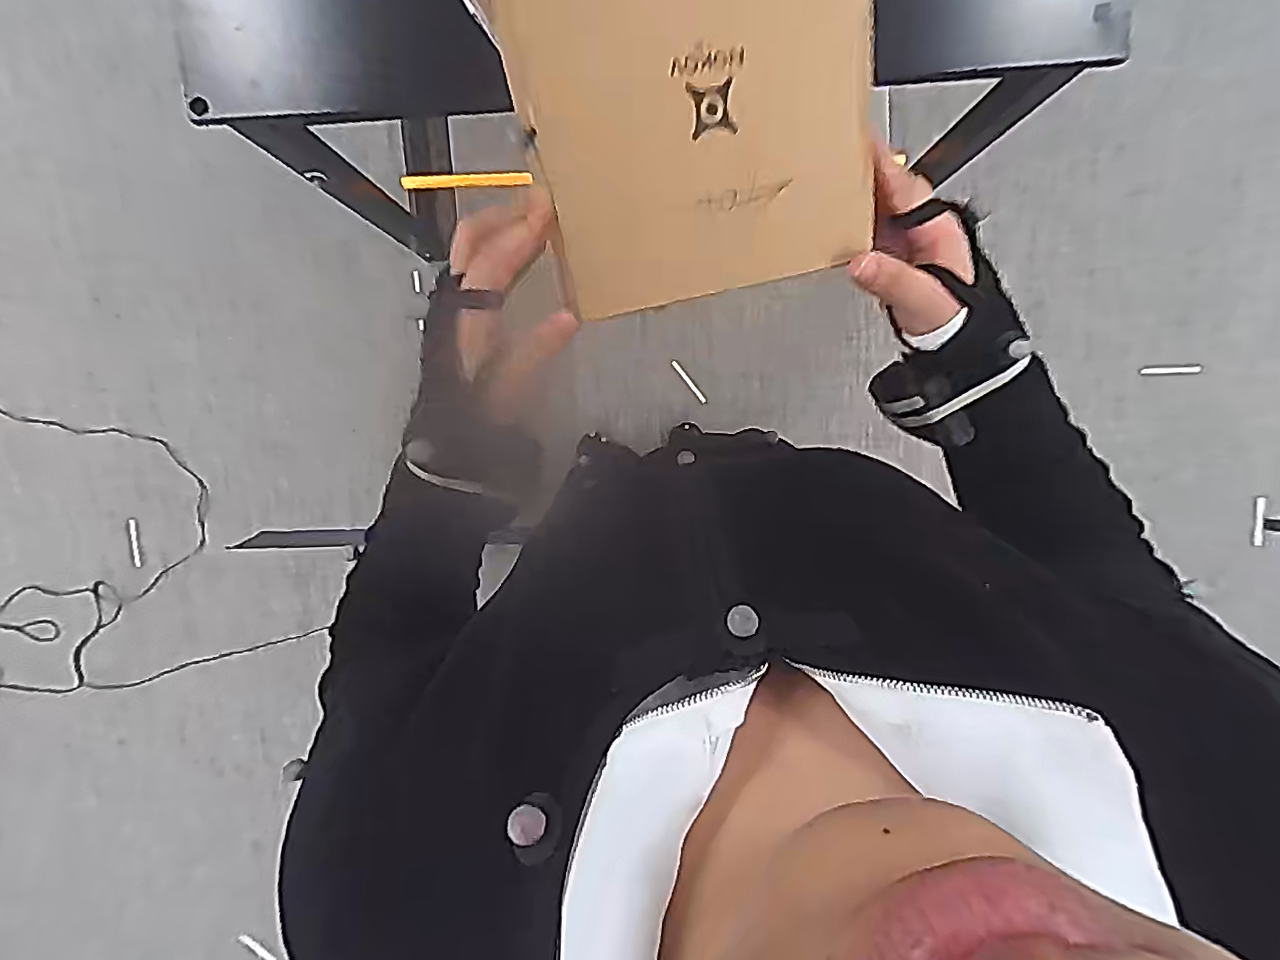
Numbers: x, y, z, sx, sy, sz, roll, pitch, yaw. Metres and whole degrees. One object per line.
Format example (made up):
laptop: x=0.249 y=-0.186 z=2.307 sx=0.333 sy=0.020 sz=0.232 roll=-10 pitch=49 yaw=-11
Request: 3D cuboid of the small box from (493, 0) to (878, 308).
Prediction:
small box: x=0.015 y=-0.213 z=0.315 sx=0.168 sy=0.176 sz=0.179 roll=-15 pitch=117 yaw=-6
